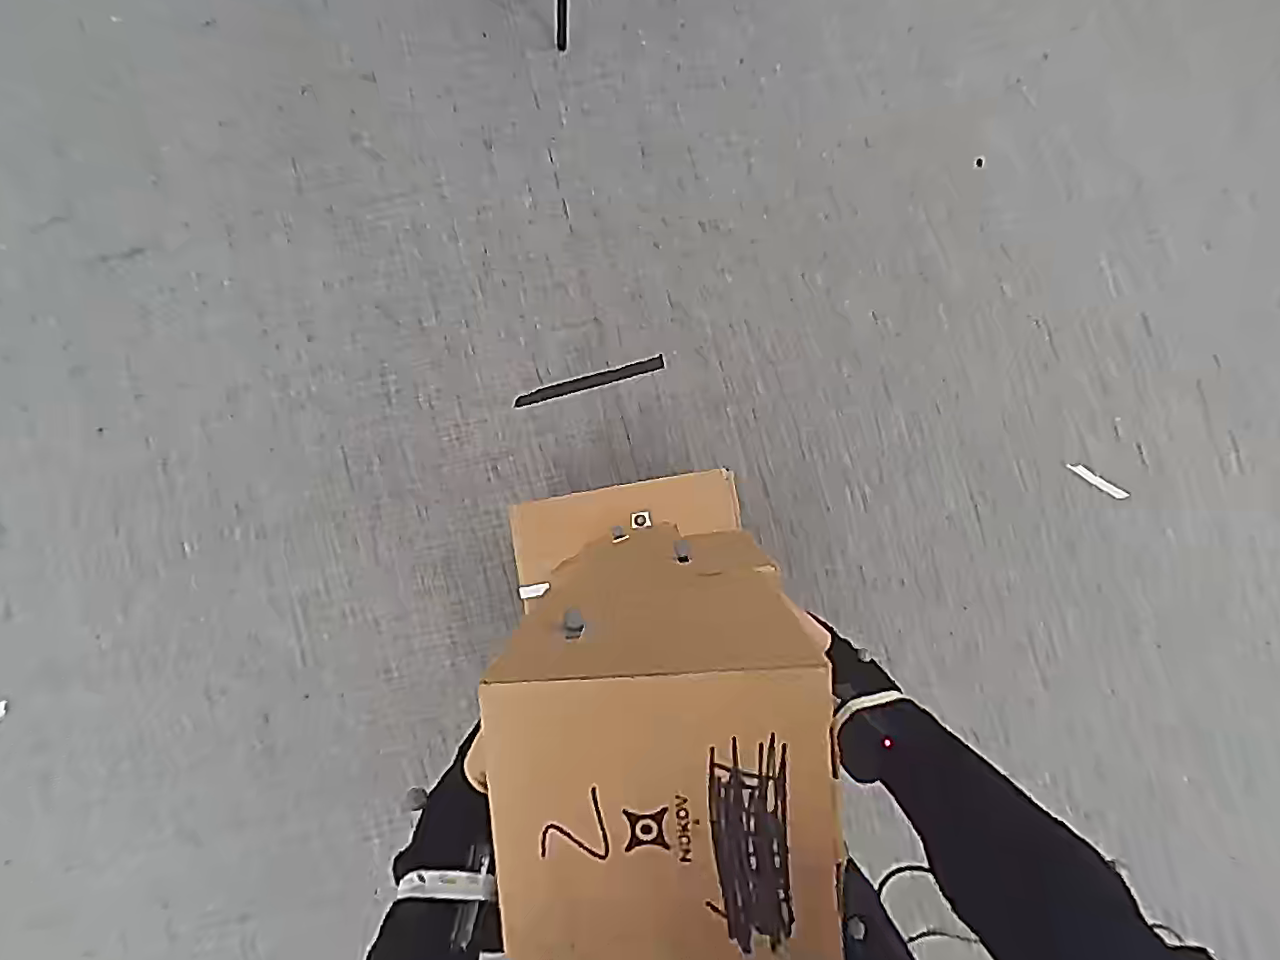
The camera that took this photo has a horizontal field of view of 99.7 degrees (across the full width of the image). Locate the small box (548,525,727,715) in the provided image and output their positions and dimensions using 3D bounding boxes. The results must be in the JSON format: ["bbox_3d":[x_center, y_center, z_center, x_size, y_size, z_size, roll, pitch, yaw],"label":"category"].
[{"bbox_3d":[-0.006,0.168,0.710,0.168,0.176,0.179,-22,88,-4],"label":"small box"}]
